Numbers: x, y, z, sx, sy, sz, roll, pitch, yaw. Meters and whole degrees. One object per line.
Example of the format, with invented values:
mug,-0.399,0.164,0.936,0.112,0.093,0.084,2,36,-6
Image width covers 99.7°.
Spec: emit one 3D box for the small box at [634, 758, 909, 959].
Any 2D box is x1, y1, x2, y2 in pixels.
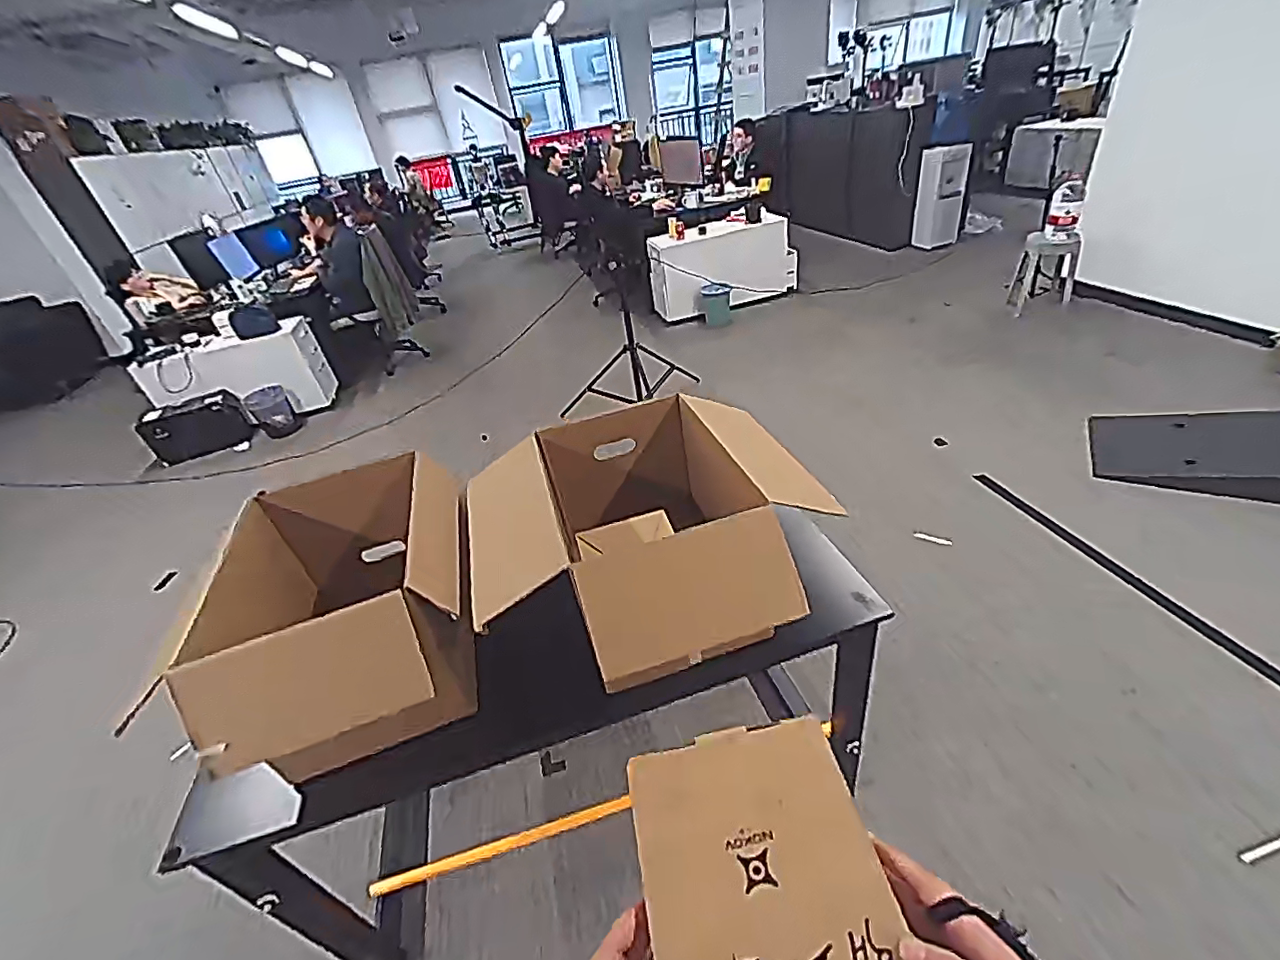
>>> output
small box,0.097,0.355,0.425,0.168,0.176,0.179,-13,42,-1
